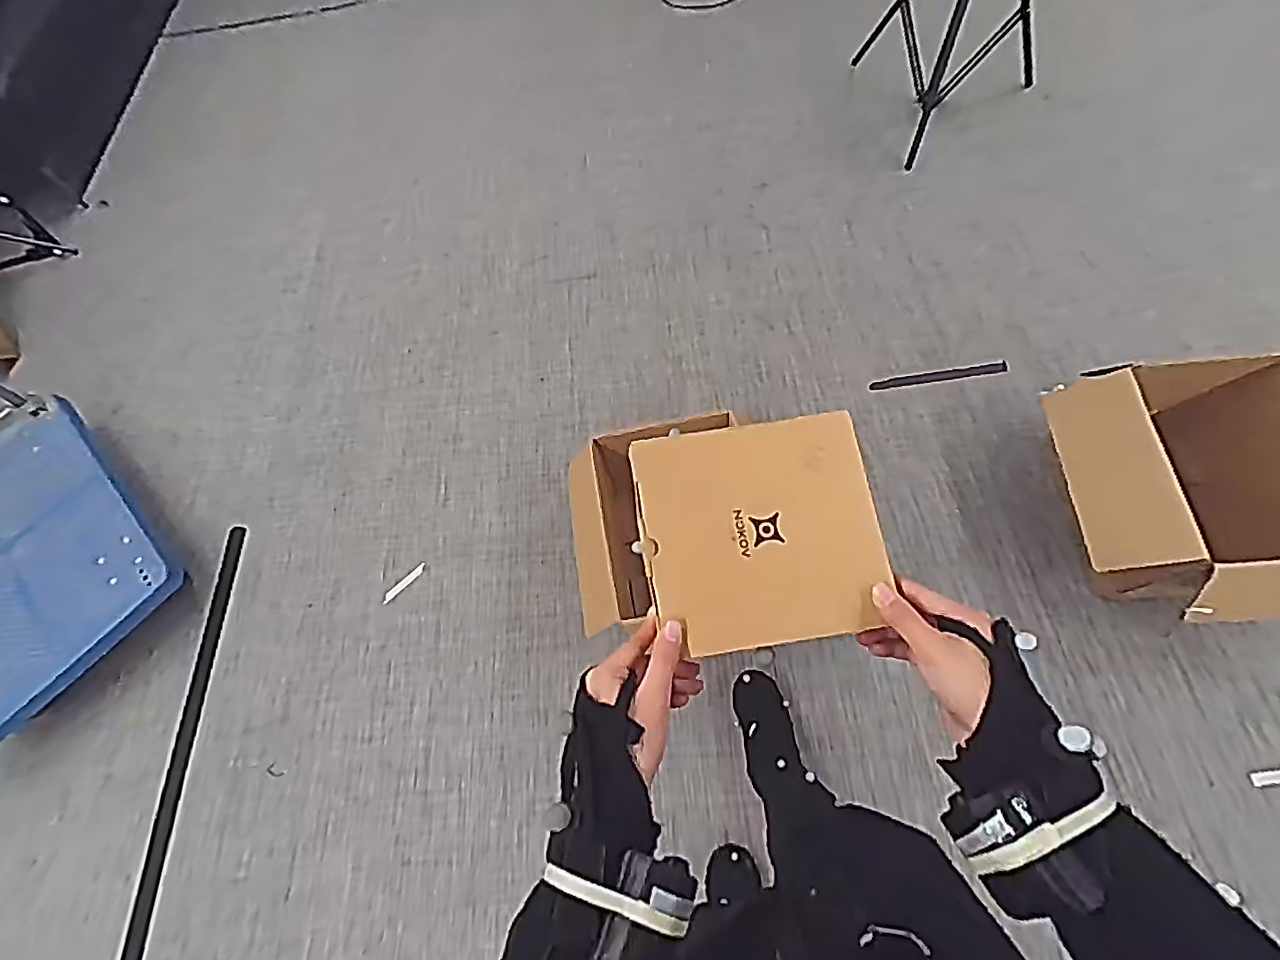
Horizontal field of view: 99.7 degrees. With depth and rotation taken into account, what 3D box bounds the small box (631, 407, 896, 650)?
[{"bbox_3d":[0.092,0.050,0.484,0.179,0.176,0.168,-9,76,1],"label":"small box"}]
